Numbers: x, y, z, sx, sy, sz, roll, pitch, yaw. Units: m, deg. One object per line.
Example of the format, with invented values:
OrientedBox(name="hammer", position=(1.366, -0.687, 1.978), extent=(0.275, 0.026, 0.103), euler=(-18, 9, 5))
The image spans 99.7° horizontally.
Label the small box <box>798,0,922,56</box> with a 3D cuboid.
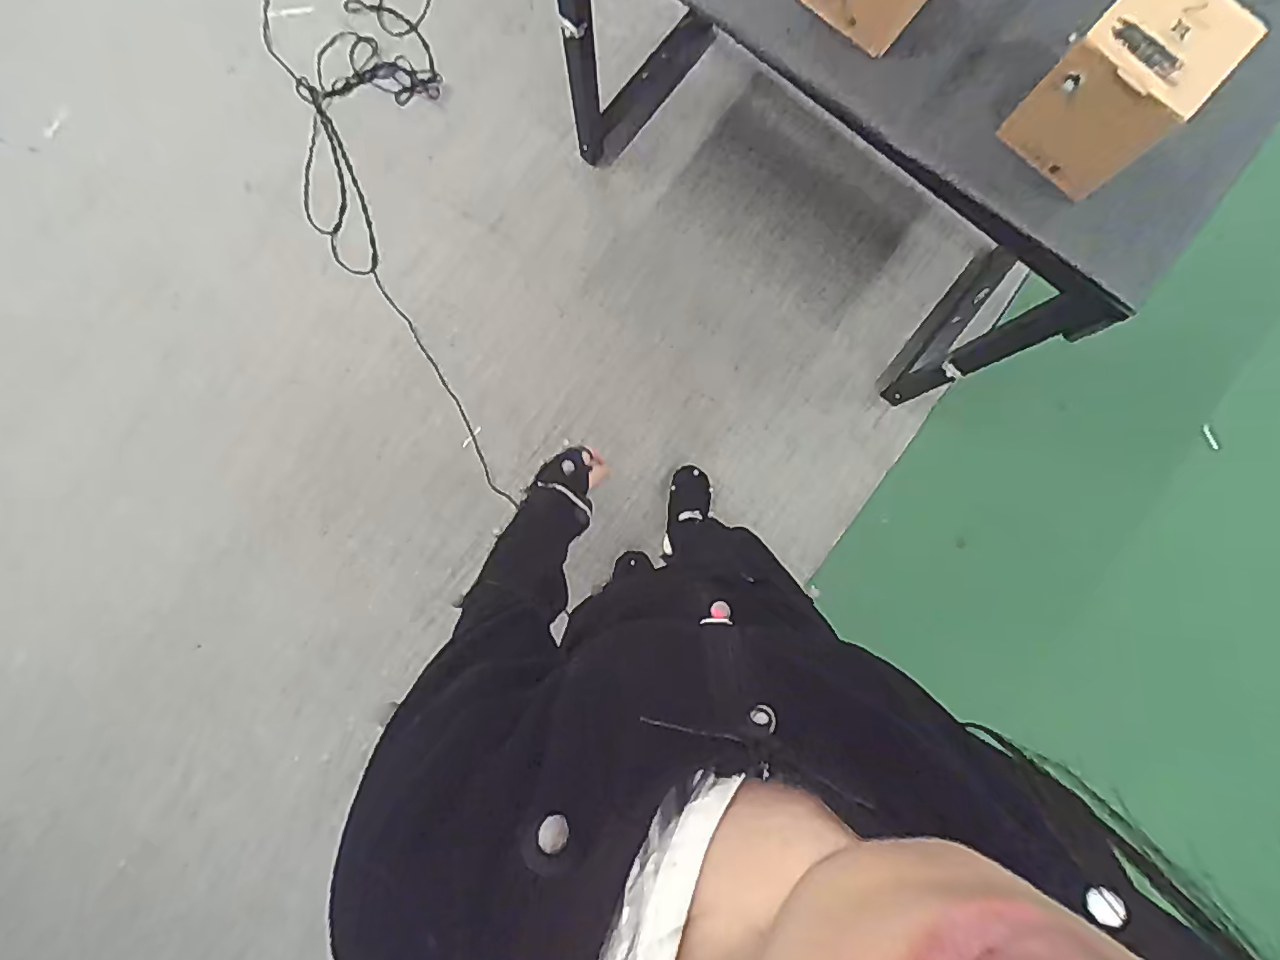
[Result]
OrientedBox(name="small box", position=(0.354, -0.775, 0.769), extent=(0.168, 0.176, 0.179), euler=(39, 85, 1))
